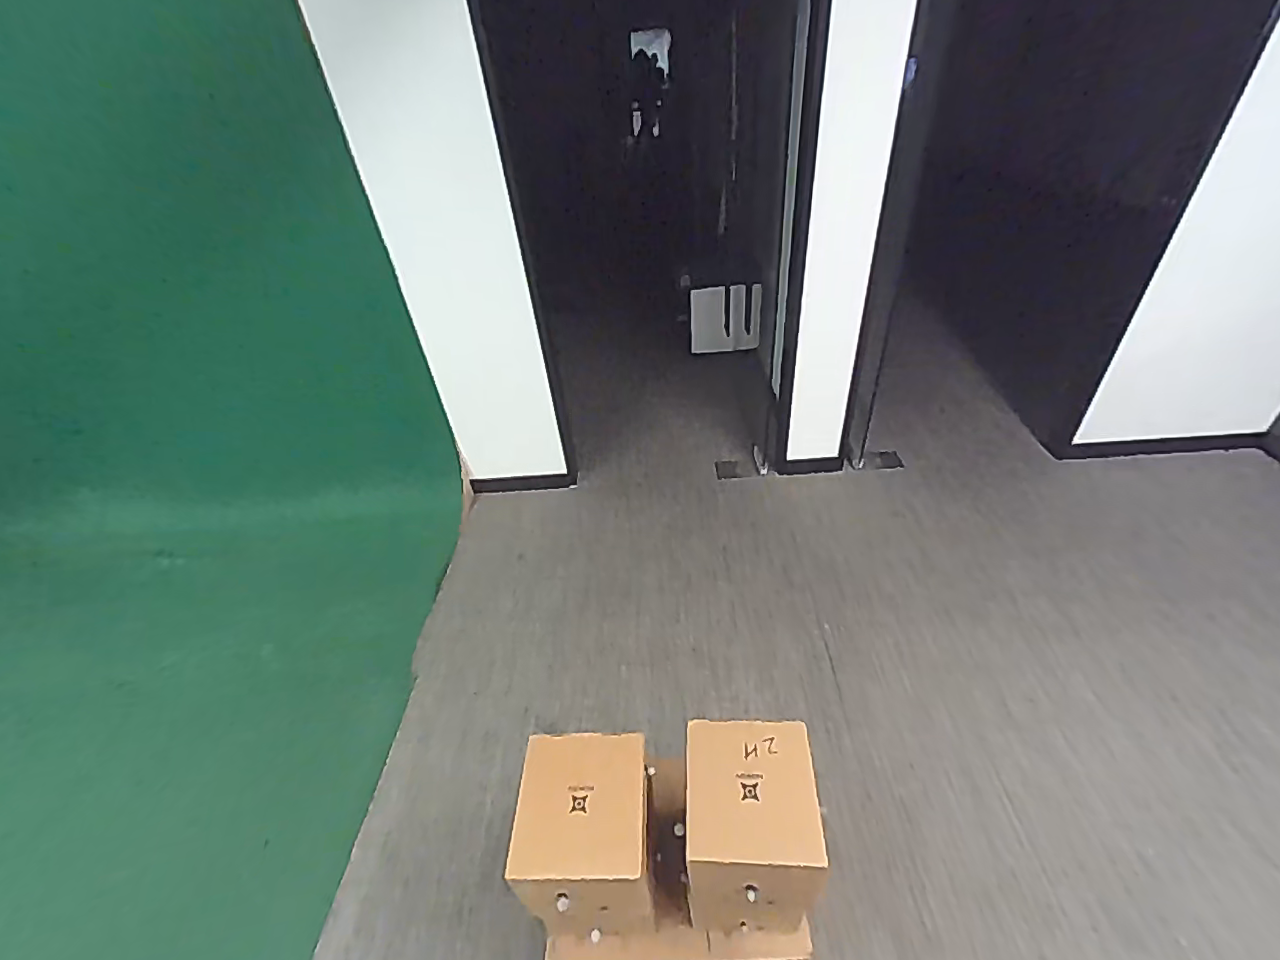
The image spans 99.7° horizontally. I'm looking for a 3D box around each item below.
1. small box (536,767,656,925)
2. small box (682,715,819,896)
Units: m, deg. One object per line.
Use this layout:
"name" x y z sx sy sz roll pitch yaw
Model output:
"small box" -0.061 0.594 0.881 0.168 0.176 0.179 -2 41 4
"small box" 0.149 0.455 0.756 0.168 0.176 0.179 -1 40 8
